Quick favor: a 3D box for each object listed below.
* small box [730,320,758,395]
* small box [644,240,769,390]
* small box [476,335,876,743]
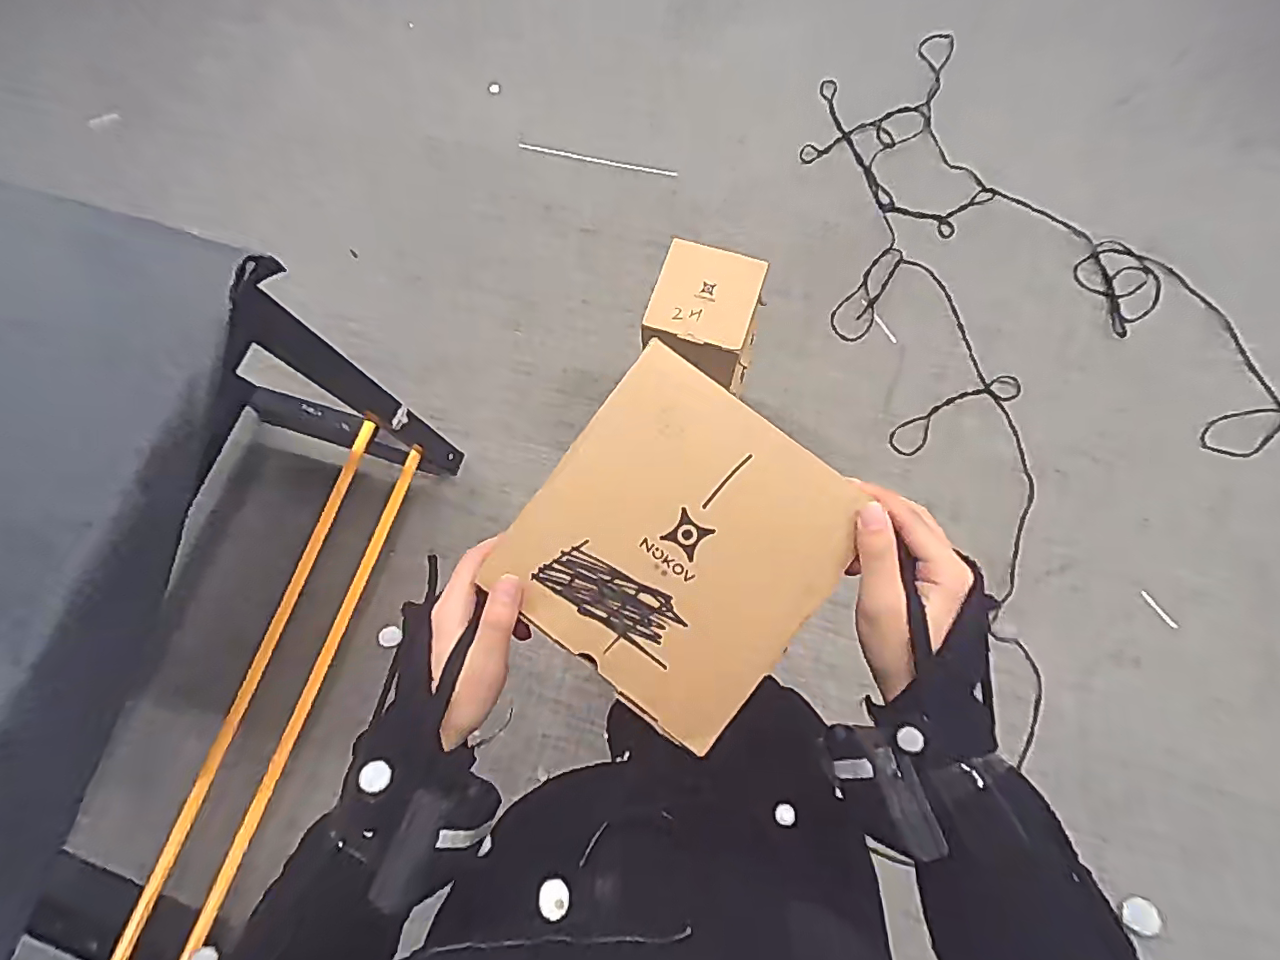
[{"bbox_3d":[0.125,-0.232,1.106,0.179,0.176,0.168,16,75,8],"label":"small box"},{"bbox_3d":[0.110,-0.277,0.948,0.168,0.176,0.179,17,76,7],"label":"small box"},{"bbox_3d":[0.023,0.035,0.386,0.168,0.176,0.179,38,90,3],"label":"small box"}]
